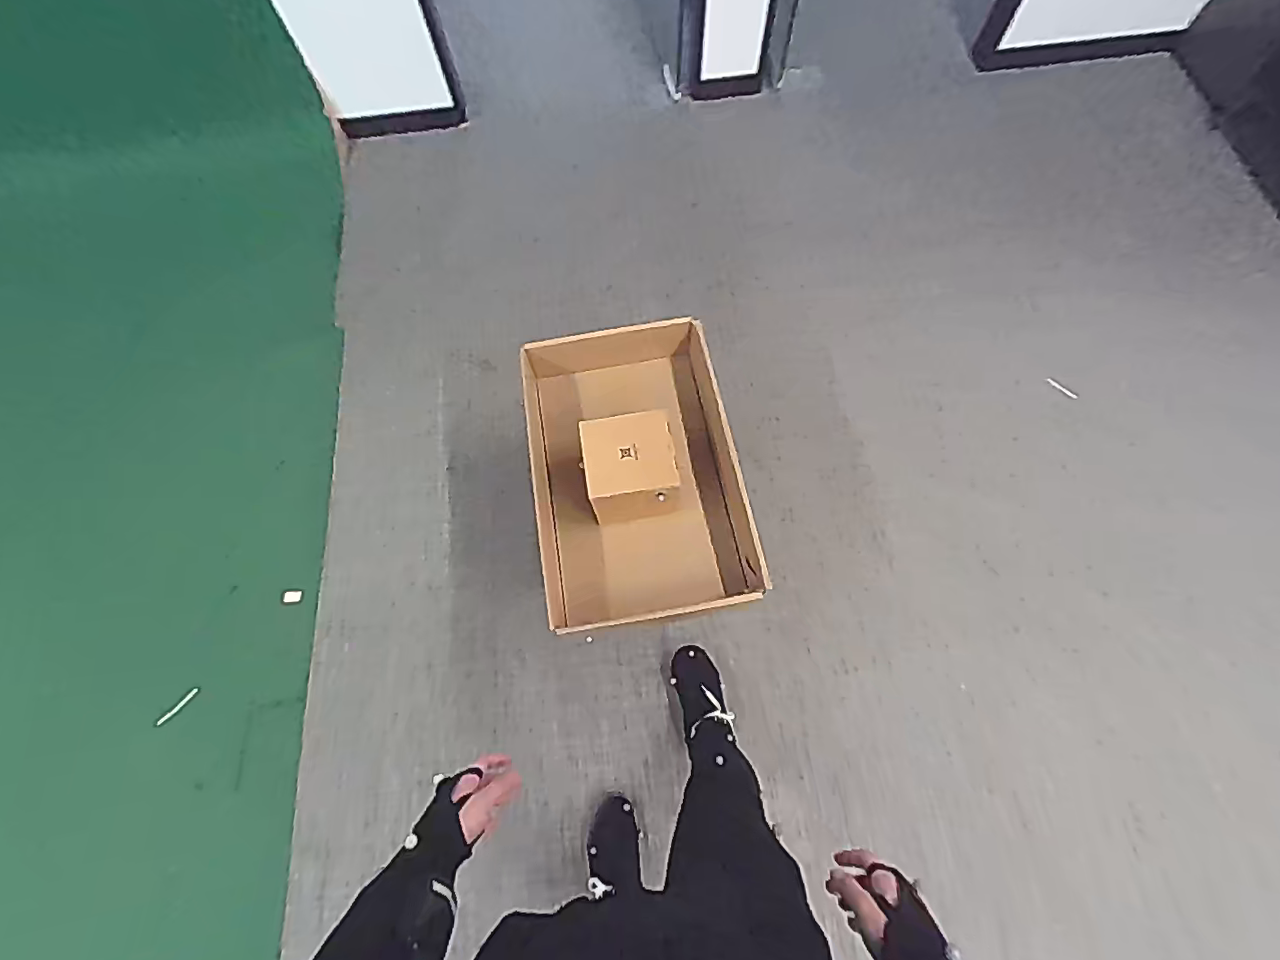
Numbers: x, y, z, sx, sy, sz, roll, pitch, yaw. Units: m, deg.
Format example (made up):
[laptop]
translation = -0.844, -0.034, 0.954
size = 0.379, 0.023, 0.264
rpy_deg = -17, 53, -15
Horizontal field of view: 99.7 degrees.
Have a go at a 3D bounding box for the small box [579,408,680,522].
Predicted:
[small box]
translation = -0.020, -0.024, 1.097
size = 0.179, 0.176, 0.168
rpy_deg = -9, 68, -3
